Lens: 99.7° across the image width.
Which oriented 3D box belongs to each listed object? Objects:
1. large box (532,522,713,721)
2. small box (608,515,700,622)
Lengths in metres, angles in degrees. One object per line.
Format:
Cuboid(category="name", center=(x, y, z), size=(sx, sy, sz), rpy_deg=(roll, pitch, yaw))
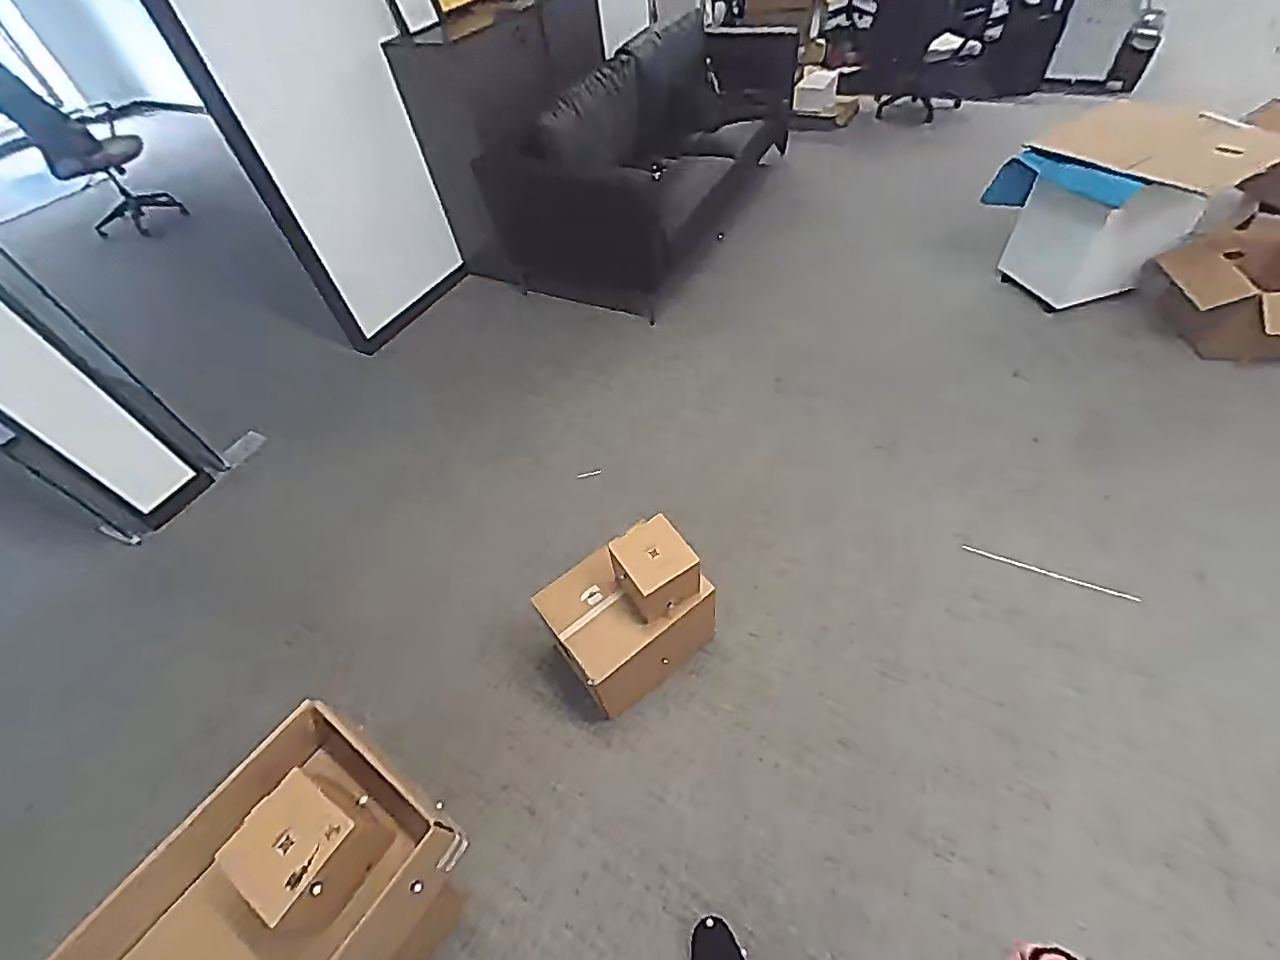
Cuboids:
Cuboid(category="large box", center=(-0.036, 0.407, 1.565), size=(0.408, 0.320, 0.320), rpy_deg=(-35, 55, -19))
Cuboid(category="small box", center=(0.036, 0.229, 1.384), size=(0.168, 0.176, 0.179), rpy_deg=(-29, 55, -16))
